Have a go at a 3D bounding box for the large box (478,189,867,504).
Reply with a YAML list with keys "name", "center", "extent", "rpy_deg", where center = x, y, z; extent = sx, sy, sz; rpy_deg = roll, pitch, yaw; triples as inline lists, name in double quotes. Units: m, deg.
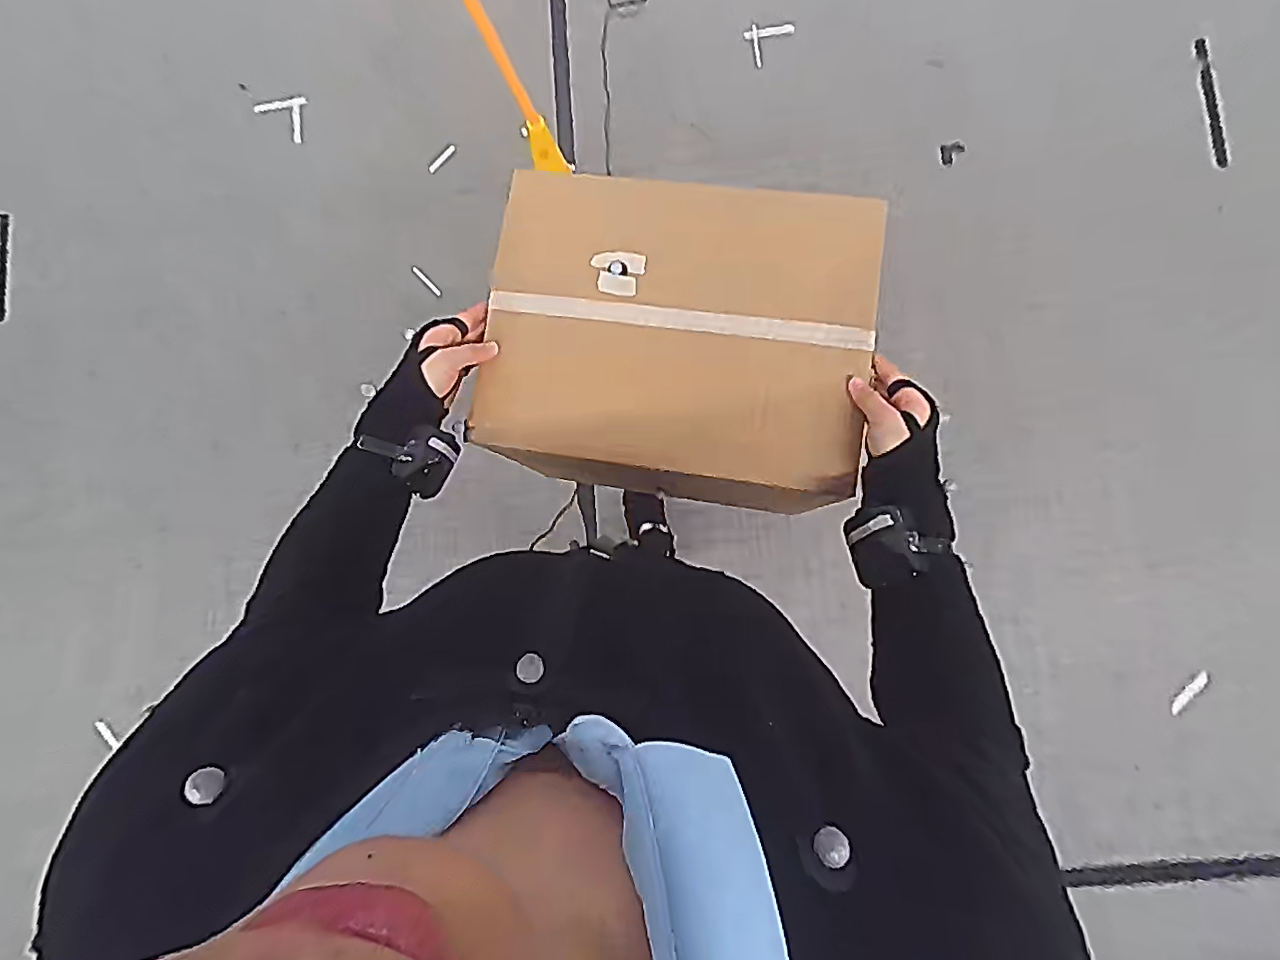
- name: "large box"
  center: [0.053, -0.149, 0.727]
  extent: [0.408, 0.320, 0.320]
  rpy_deg: [6, 80, 7]
